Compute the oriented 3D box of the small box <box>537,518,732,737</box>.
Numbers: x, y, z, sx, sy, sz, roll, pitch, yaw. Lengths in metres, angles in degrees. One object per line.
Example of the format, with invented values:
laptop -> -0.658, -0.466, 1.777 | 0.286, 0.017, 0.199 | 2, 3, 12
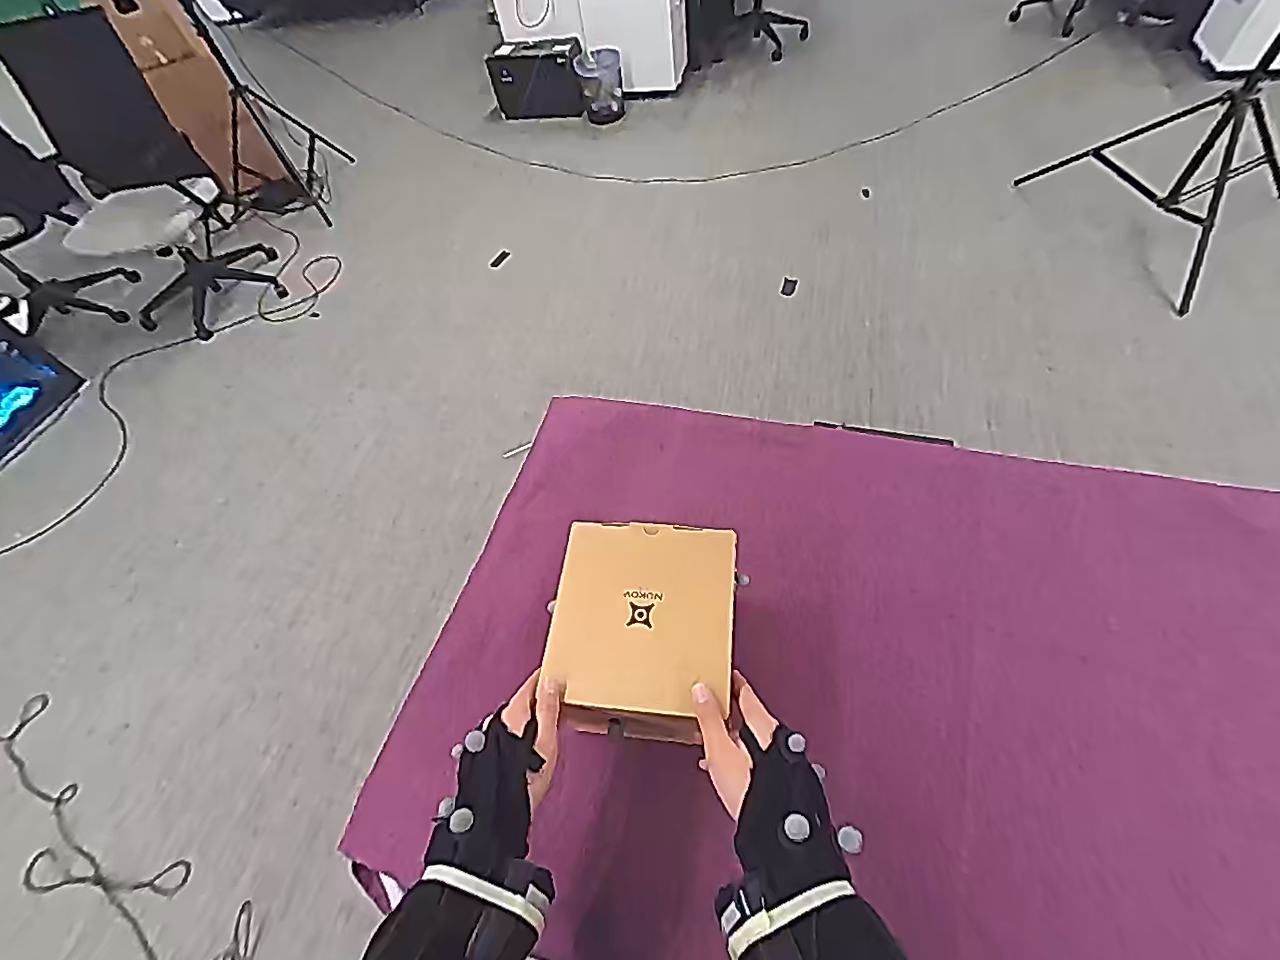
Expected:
small box -> 0.010, 0.157, 0.561 | 0.168, 0.176, 0.179 | 1, 56, 9
